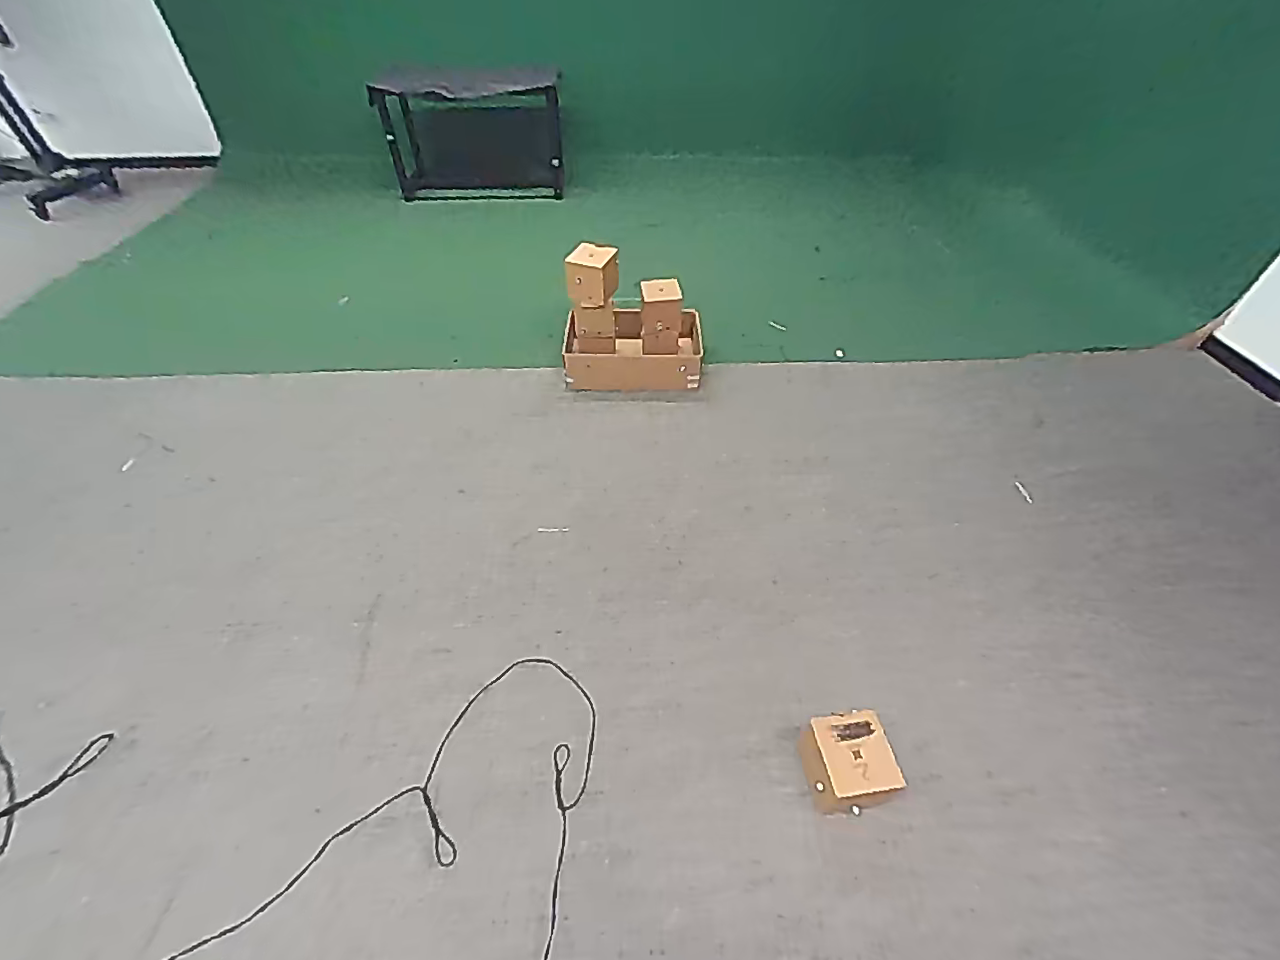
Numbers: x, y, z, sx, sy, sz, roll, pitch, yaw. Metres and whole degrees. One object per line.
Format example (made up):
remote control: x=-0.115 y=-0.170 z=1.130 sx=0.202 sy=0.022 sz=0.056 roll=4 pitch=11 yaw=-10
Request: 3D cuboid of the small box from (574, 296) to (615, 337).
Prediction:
small box: x=-0.197 y=-0.741 z=2.373 sx=0.168 sy=0.176 sz=0.179 roll=0 pitch=46 yaw=-2

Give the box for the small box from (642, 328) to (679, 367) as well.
small box: x=0.097 y=-0.650 z=2.521 sx=0.168 sy=0.176 sz=0.179 roll=2 pitch=47 yaw=3

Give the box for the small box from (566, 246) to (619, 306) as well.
small box: x=-0.191 y=-0.847 z=2.250 sx=0.168 sy=0.176 sz=0.179 roll=16 pitch=47 yaw=13

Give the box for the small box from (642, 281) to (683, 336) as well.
small box: x=0.096 y=-0.760 z=2.401 sx=0.168 sy=0.176 sz=0.179 roll=-6 pitch=49 yaw=-3

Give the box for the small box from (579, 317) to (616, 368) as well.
small box: x=-0.194 y=-0.636 z=2.499 sx=0.168 sy=0.176 sz=0.179 roll=-2 pitch=47 yaw=-2
